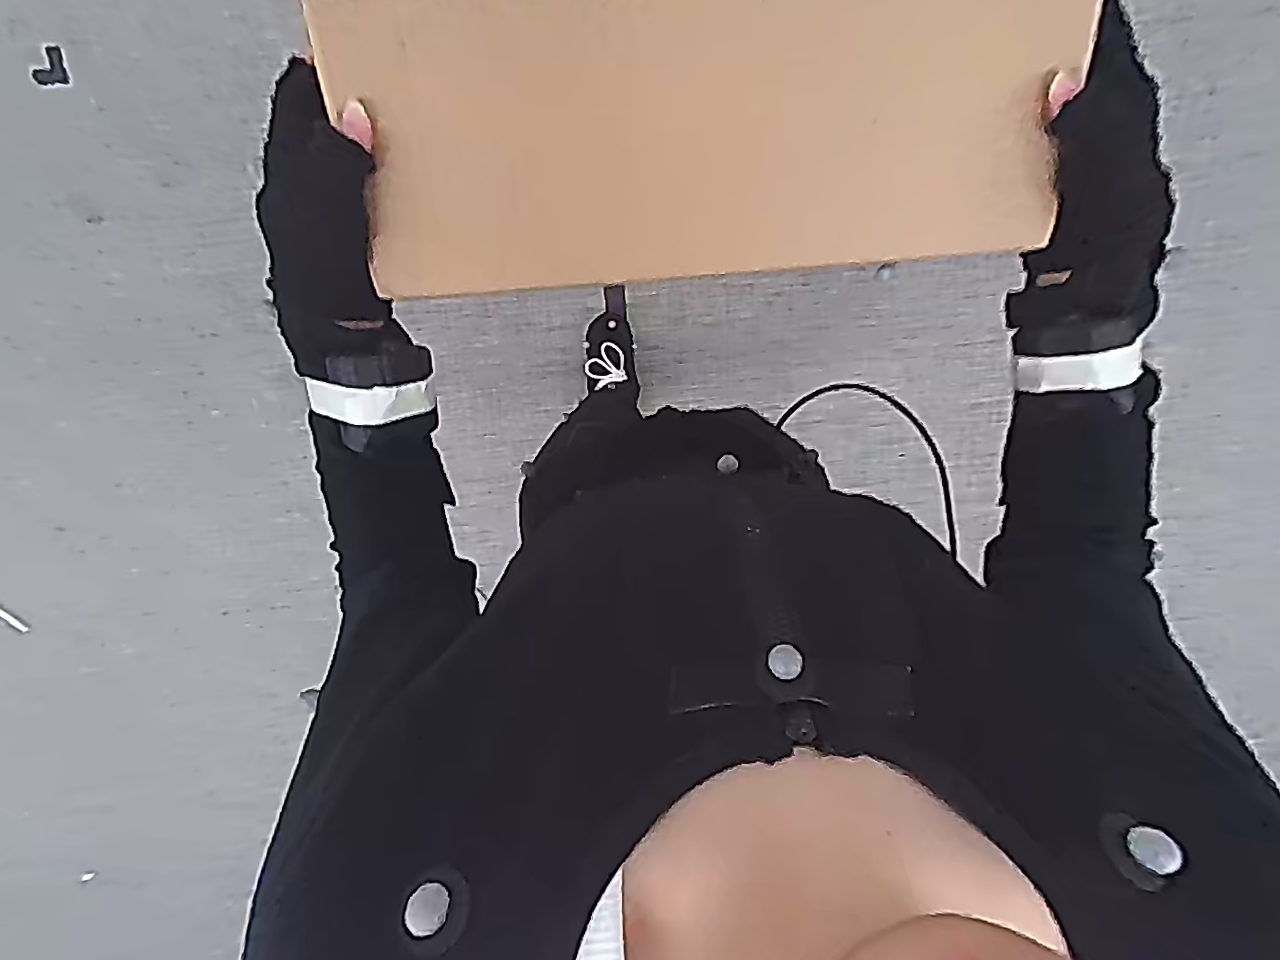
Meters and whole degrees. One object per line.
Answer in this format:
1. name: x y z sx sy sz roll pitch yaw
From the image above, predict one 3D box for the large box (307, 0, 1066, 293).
1. large box: 0.023 -0.333 0.406 0.408 0.320 0.320 -4 113 0
